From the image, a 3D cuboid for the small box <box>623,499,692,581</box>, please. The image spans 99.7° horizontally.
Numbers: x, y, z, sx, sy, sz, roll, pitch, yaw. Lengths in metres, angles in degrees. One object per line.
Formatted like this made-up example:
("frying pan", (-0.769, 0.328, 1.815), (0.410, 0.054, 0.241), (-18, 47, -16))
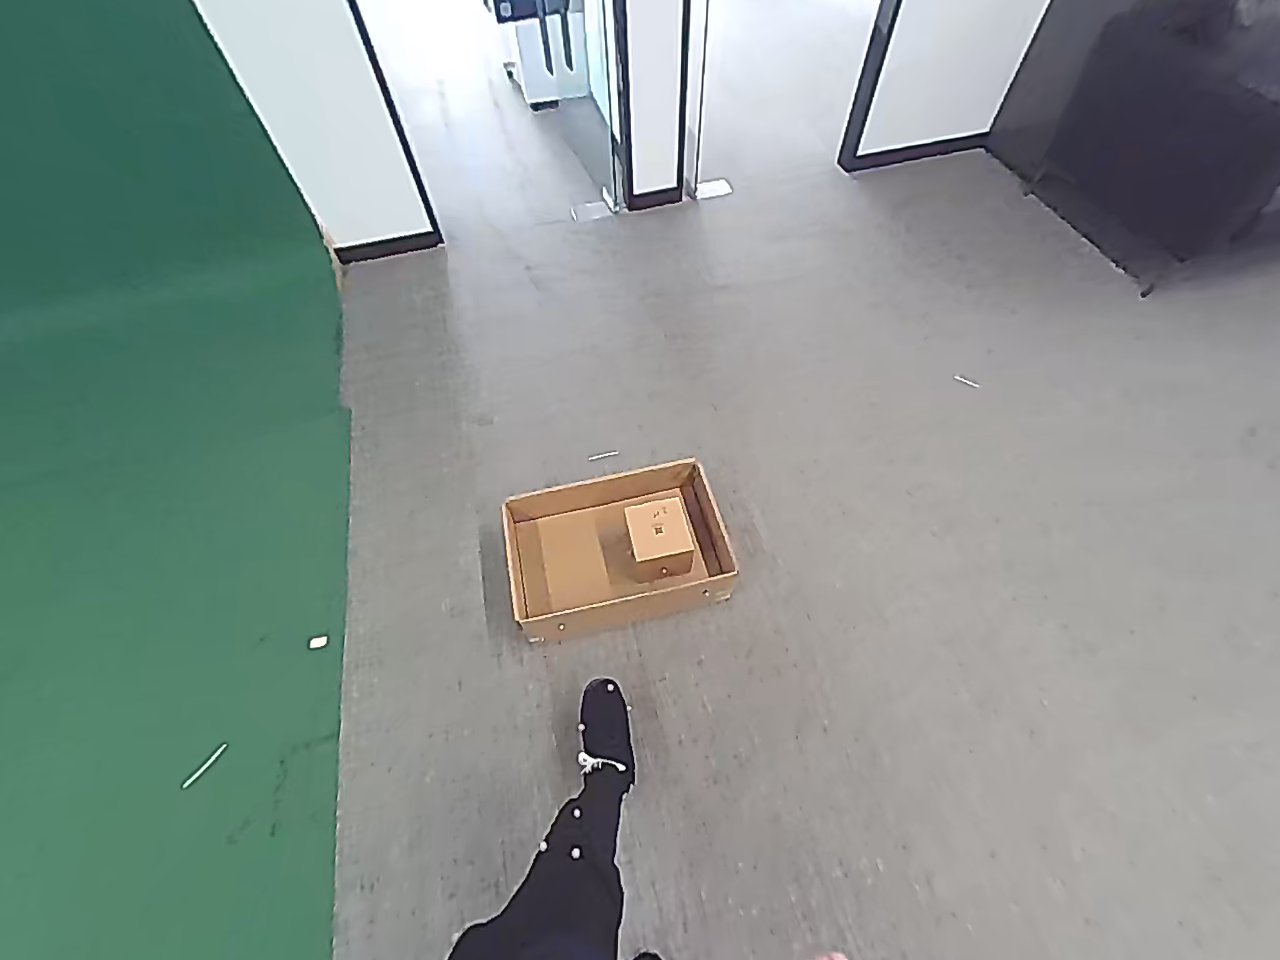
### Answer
("small box", (0.050, 0.183, 1.577), (0.168, 0.176, 0.179), (-11, 57, -5))
